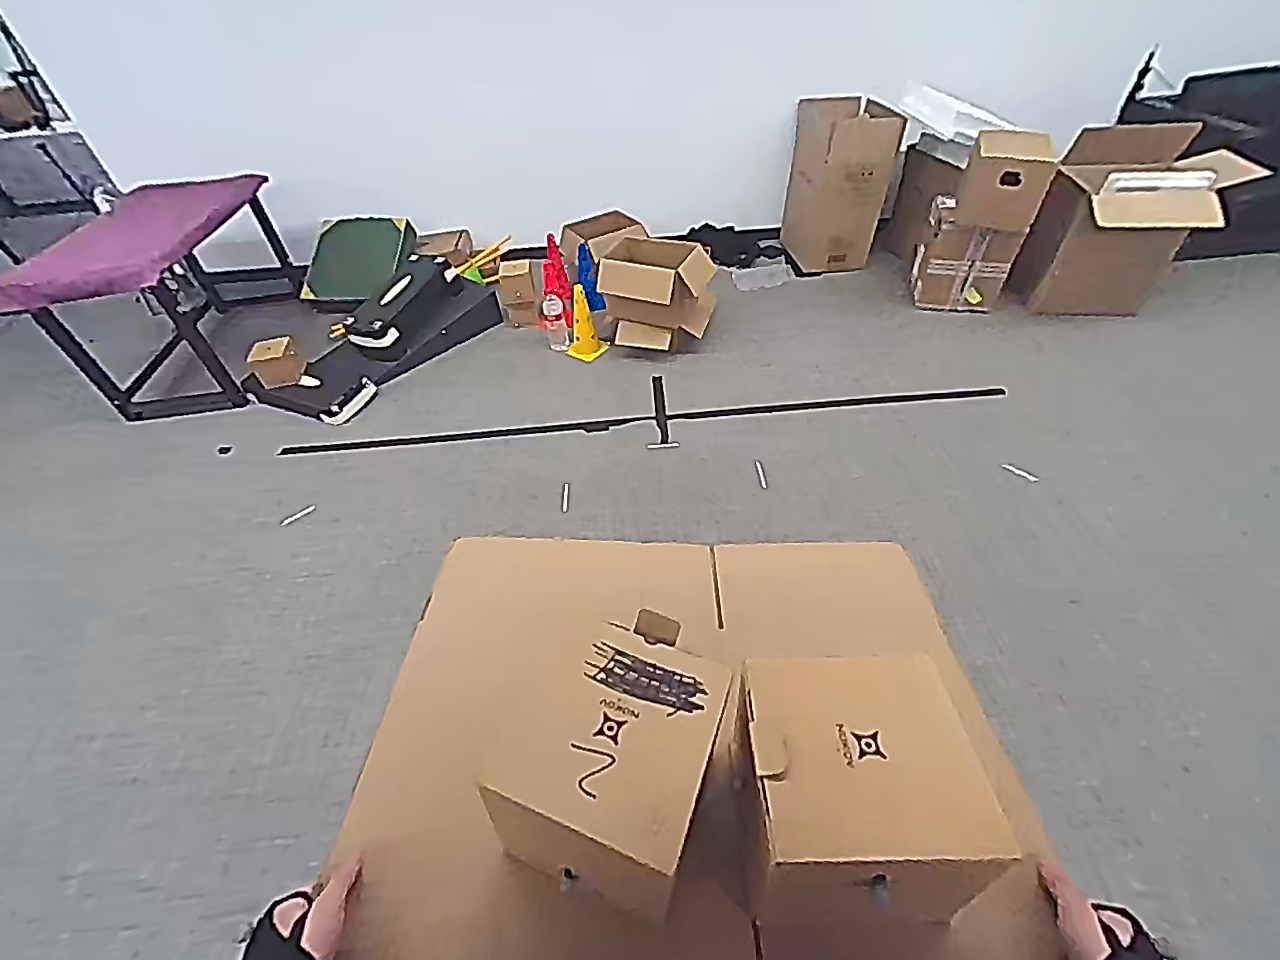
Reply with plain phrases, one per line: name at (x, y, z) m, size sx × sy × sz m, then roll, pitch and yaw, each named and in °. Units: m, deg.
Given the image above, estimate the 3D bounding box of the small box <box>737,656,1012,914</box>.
small box at (0.193, 0.286, 0.510) m, size 0.179 × 0.176 × 0.168 m, roll -3°, pitch 39°, yaw 2°
